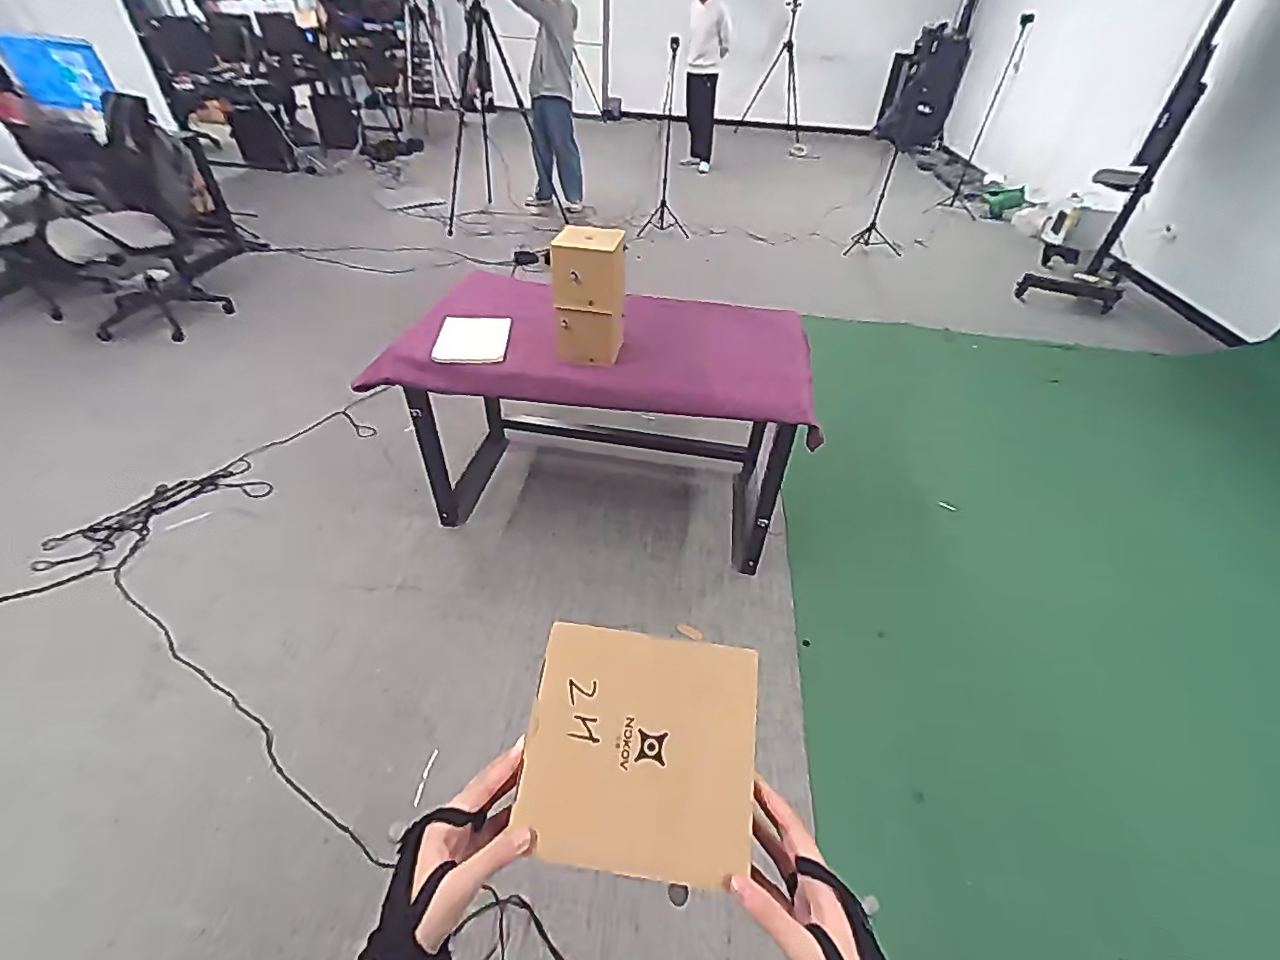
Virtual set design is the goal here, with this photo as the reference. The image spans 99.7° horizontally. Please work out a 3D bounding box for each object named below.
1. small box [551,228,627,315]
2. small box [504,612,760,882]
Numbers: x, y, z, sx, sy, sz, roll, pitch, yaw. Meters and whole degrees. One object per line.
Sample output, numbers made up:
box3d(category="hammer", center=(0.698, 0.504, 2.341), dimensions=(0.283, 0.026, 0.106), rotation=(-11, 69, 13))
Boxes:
box3d(category="small box", center=(-0.131, -0.559, 1.453), dimensions=(0.168, 0.176, 0.179), rotation=(8, 40, 5))
box3d(category="small box", center=(0.001, 0.231, 0.484), dimensions=(0.179, 0.176, 0.168), rotation=(7, 62, 4))
